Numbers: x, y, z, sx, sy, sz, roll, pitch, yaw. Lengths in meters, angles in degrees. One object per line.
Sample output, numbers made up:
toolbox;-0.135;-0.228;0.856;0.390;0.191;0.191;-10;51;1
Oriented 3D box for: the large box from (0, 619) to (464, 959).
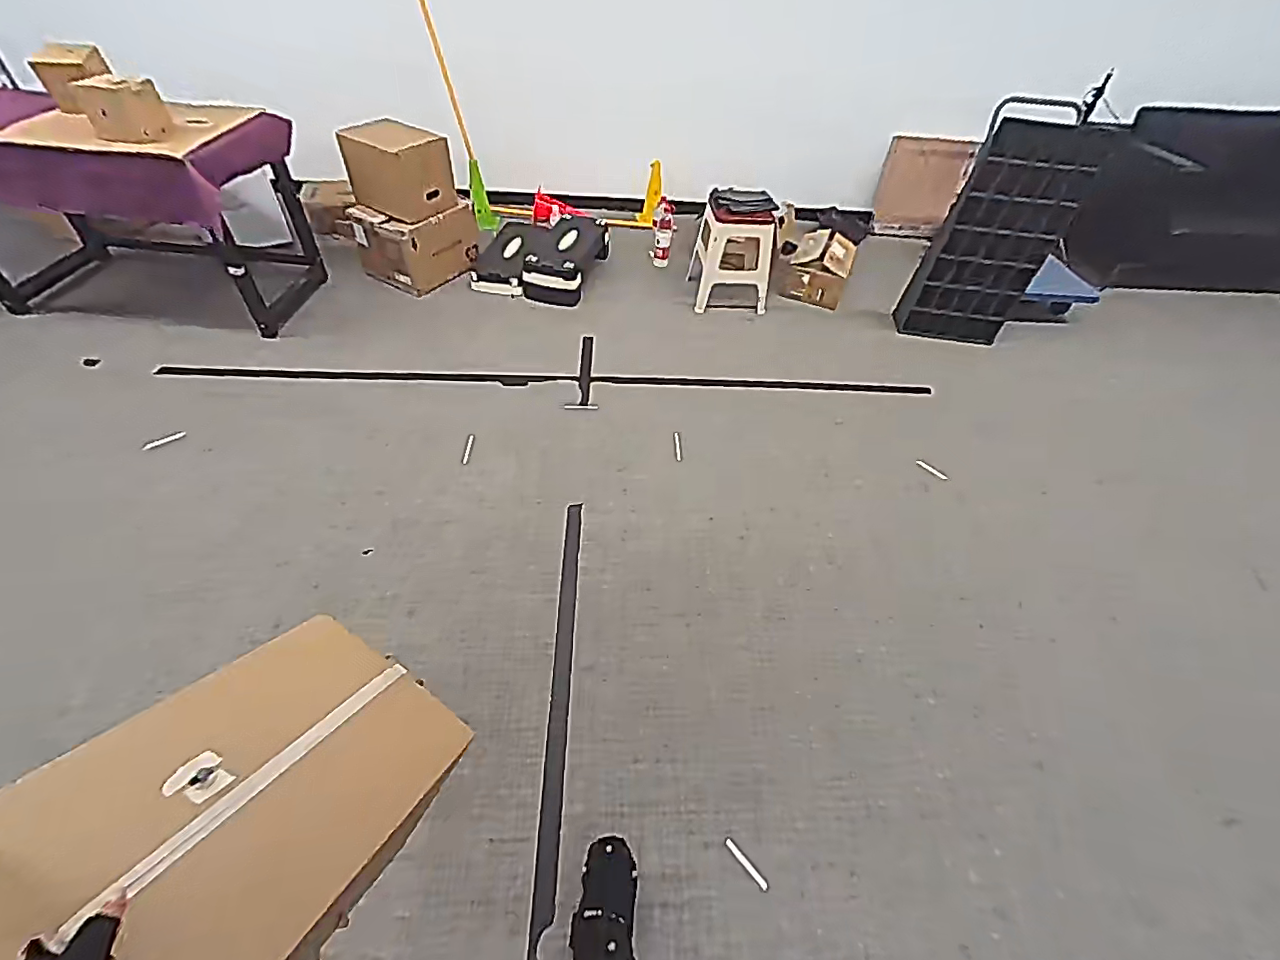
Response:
large box;-0.524;0.474;0.729;0.320;0.320;0.408;34;21;6
